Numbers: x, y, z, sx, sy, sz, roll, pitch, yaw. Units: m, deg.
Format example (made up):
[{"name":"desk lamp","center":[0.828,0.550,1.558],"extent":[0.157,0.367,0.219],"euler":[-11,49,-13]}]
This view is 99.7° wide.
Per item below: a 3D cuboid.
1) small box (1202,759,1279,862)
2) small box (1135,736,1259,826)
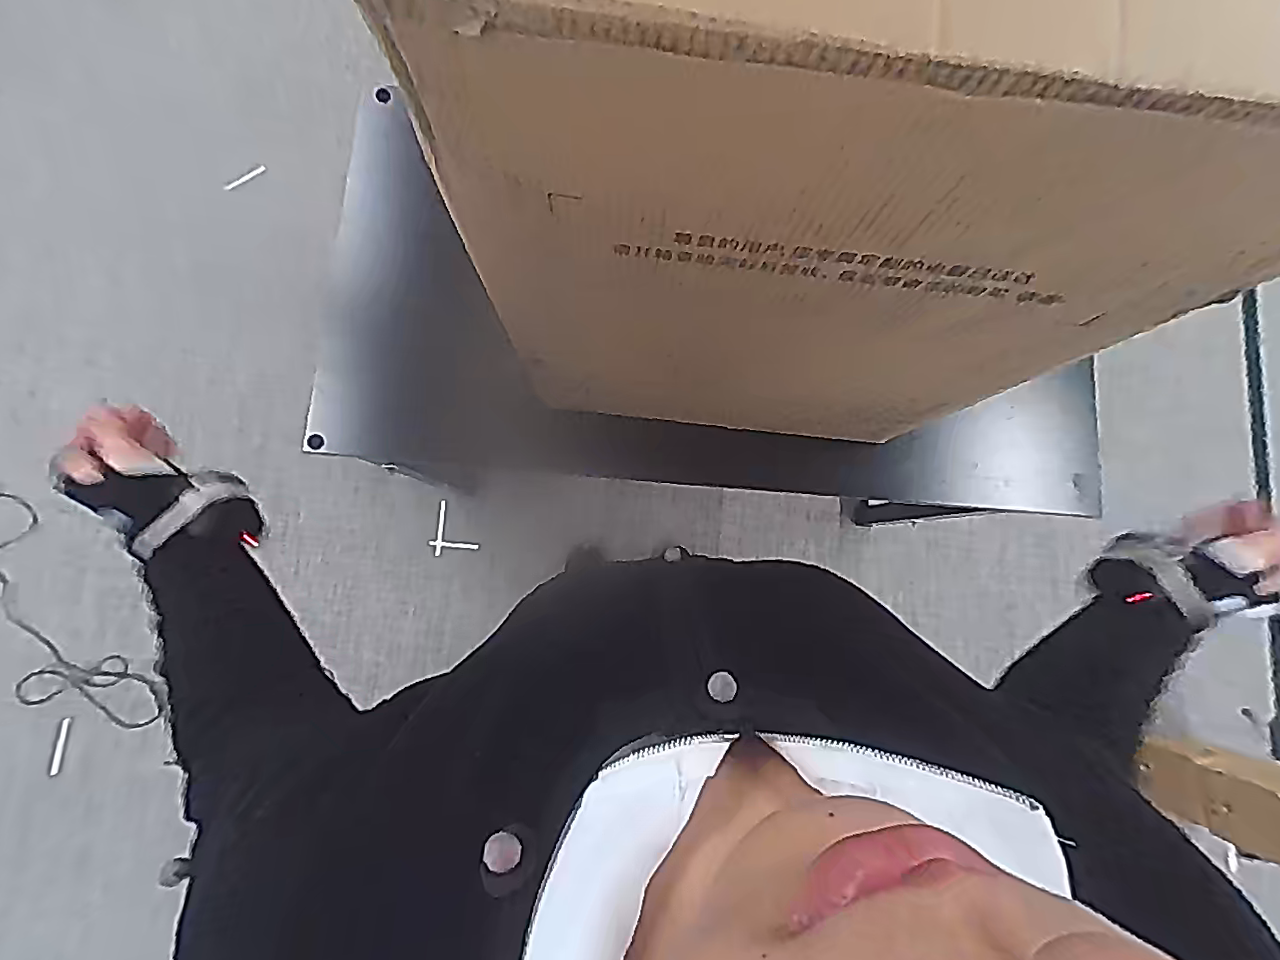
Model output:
[{"name":"small box","center":[1.488,0.766,1.259],"extent":[0.179,0.176,0.168],"euler":[-3,81,-3]},{"name":"small box","center":[1.468,0.785,1.422],"extent":[0.179,0.176,0.168],"euler":[2,81,-1]}]
